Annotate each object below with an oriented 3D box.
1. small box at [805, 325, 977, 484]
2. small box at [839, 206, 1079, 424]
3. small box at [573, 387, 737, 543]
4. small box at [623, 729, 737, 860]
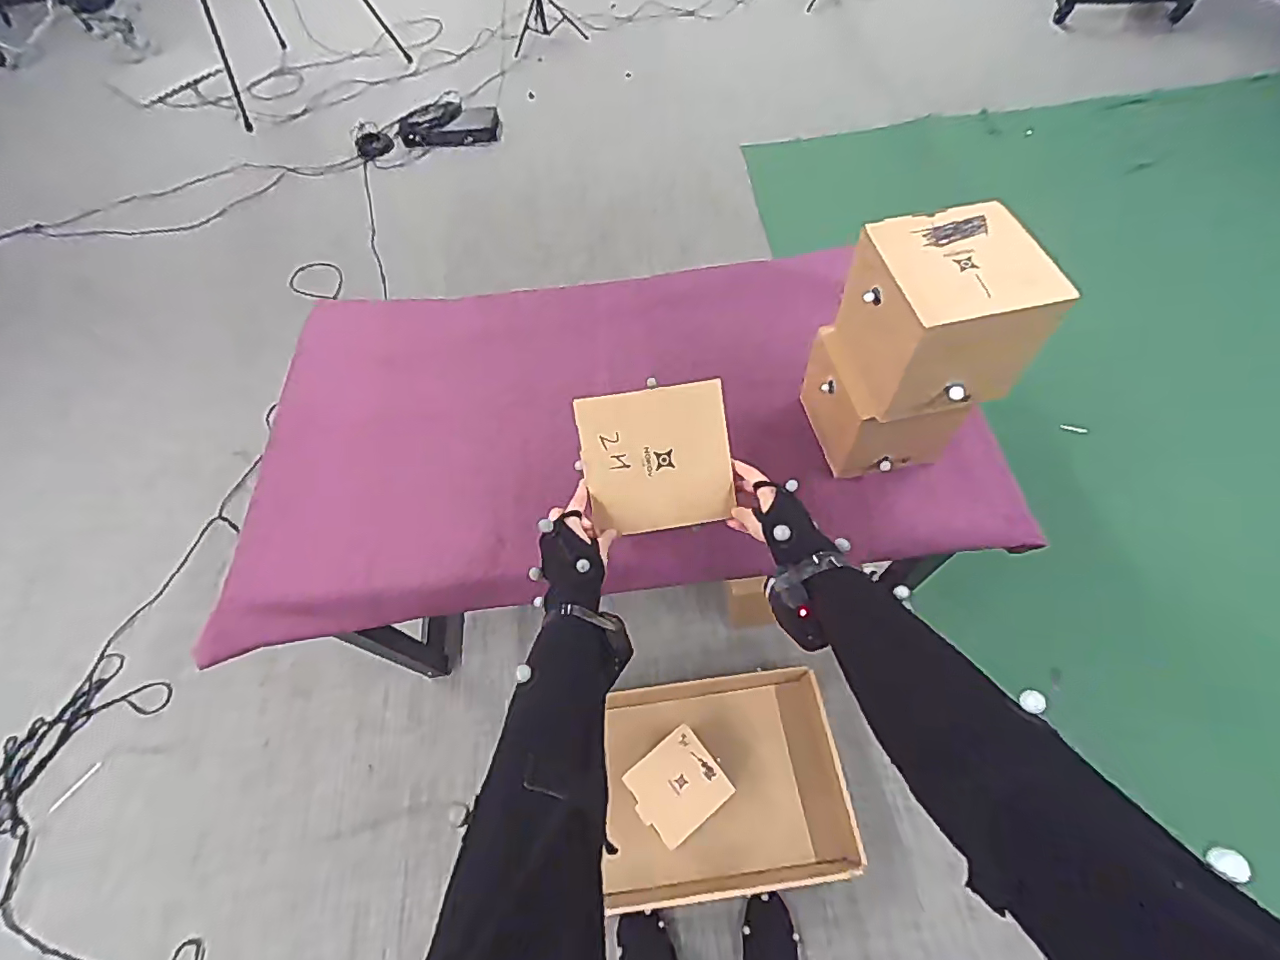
[{"bbox_3d":[0.358,-0.119,0.806,0.168,0.176,0.179,-11,58,0],"label":"small box"},{"bbox_3d":[0.361,-0.196,0.660,0.168,0.176,0.179,-11,58,1],"label":"small box"},{"bbox_3d":[0.015,-0.025,0.705,0.179,0.176,0.168,-8,95,-1],"label":"small box"},{"bbox_3d":[0.089,0.670,1.159,0.179,0.176,0.168,-35,63,-14],"label":"small box"}]
